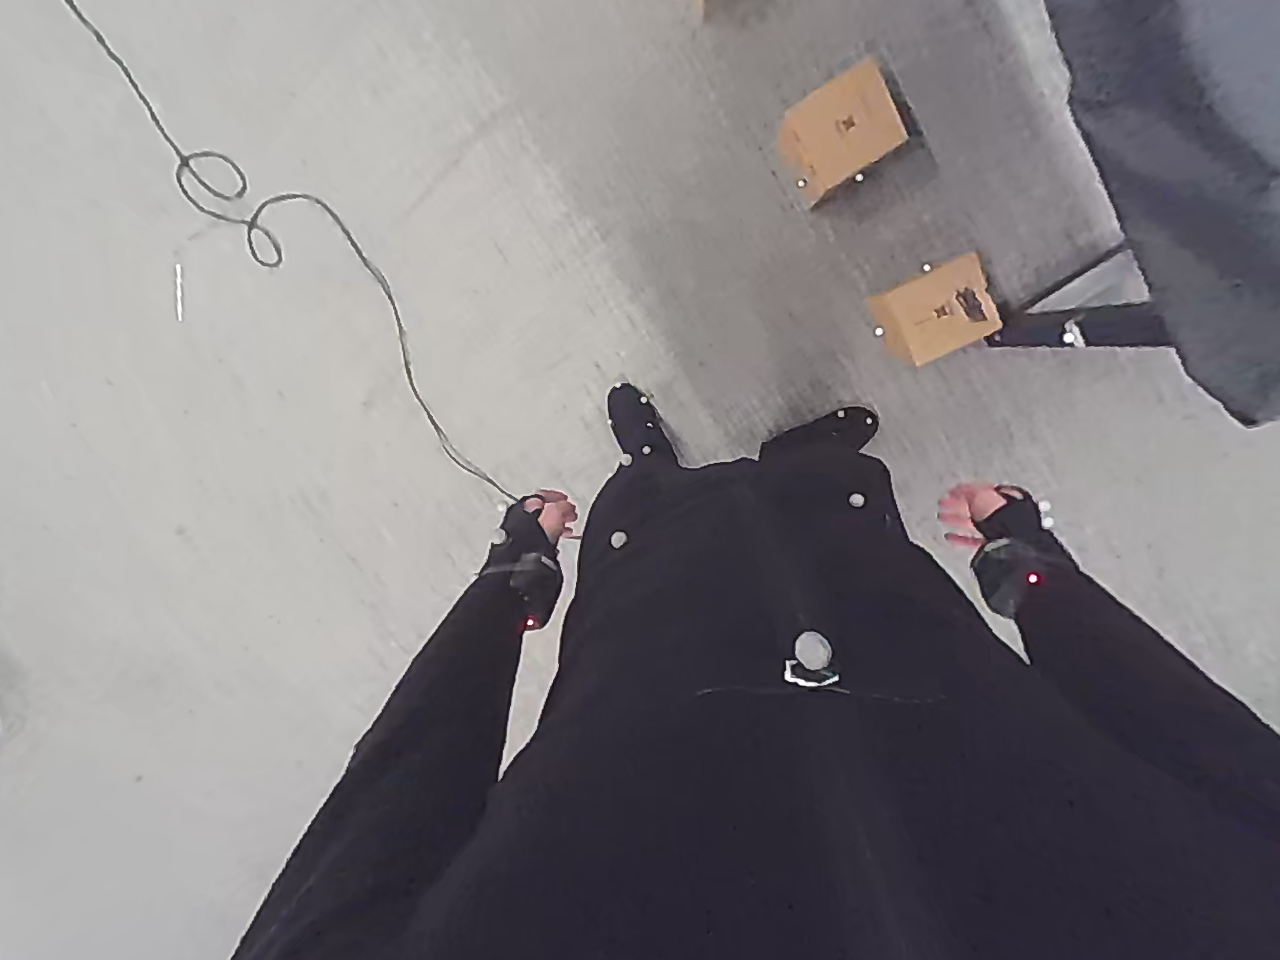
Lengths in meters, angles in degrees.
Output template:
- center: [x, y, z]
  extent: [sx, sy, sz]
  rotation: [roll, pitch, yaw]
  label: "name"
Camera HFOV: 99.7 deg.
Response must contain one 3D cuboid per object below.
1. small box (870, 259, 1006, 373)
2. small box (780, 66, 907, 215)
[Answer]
- center: [0.623, -0.344, 1.151]
  extent: [0.179, 0.176, 0.168]
  rotation: [-26, 99, 13]
  label: "small box"
- center: [0.401, -0.676, 1.105]
  extent: [0.179, 0.176, 0.168]
  rotation: [-30, 99, 11]
  label: "small box"
